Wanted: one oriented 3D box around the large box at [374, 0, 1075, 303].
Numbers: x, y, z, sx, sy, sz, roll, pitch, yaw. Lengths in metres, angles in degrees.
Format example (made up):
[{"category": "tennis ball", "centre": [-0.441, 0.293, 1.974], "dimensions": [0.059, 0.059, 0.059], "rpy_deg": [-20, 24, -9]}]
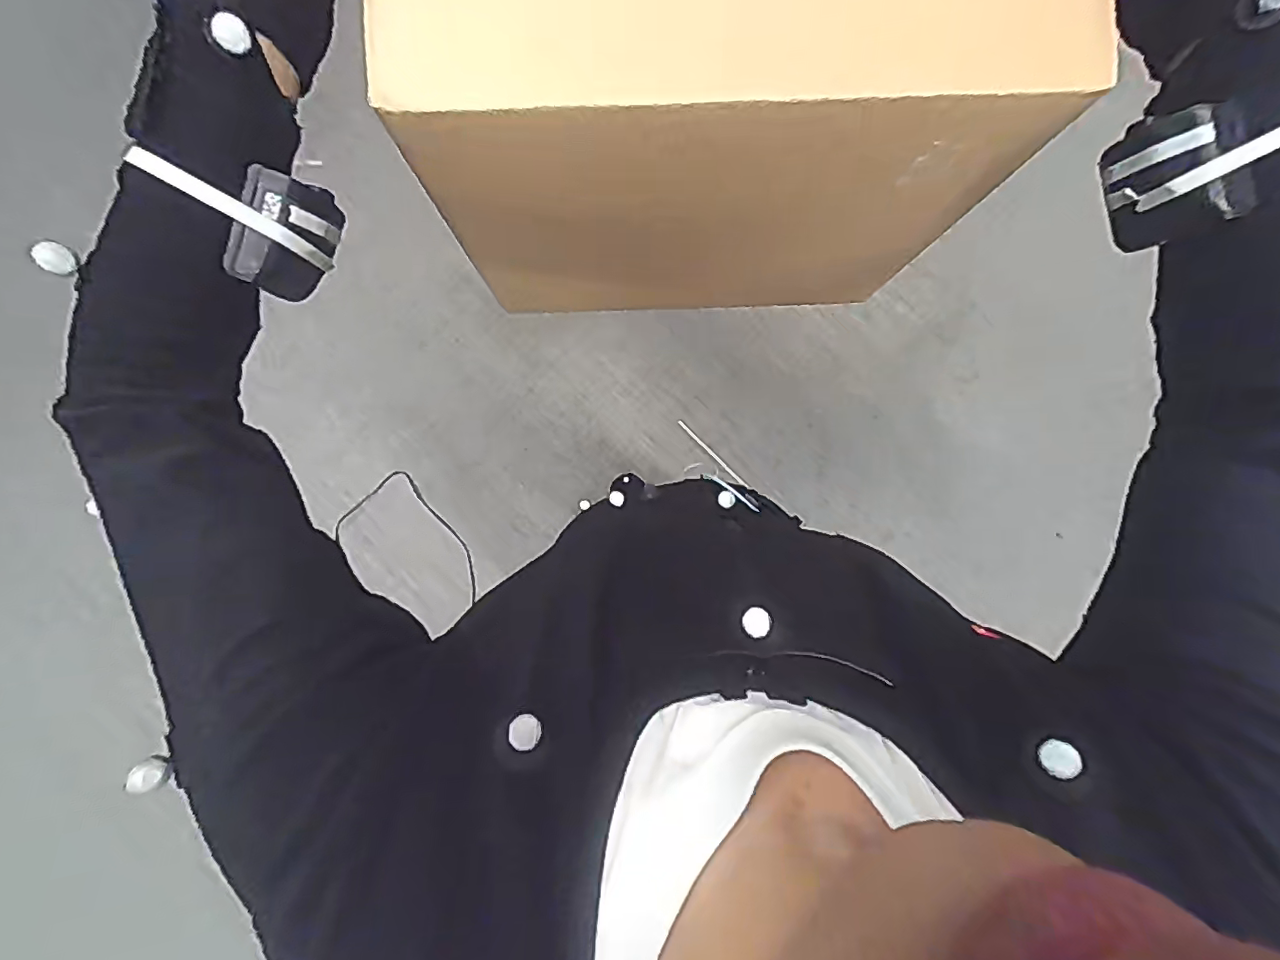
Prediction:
[{"category": "large box", "centre": [0.037, -0.363, 0.458], "dimensions": [0.408, 0.320, 0.320], "rpy_deg": [-3, 88, -3]}]
